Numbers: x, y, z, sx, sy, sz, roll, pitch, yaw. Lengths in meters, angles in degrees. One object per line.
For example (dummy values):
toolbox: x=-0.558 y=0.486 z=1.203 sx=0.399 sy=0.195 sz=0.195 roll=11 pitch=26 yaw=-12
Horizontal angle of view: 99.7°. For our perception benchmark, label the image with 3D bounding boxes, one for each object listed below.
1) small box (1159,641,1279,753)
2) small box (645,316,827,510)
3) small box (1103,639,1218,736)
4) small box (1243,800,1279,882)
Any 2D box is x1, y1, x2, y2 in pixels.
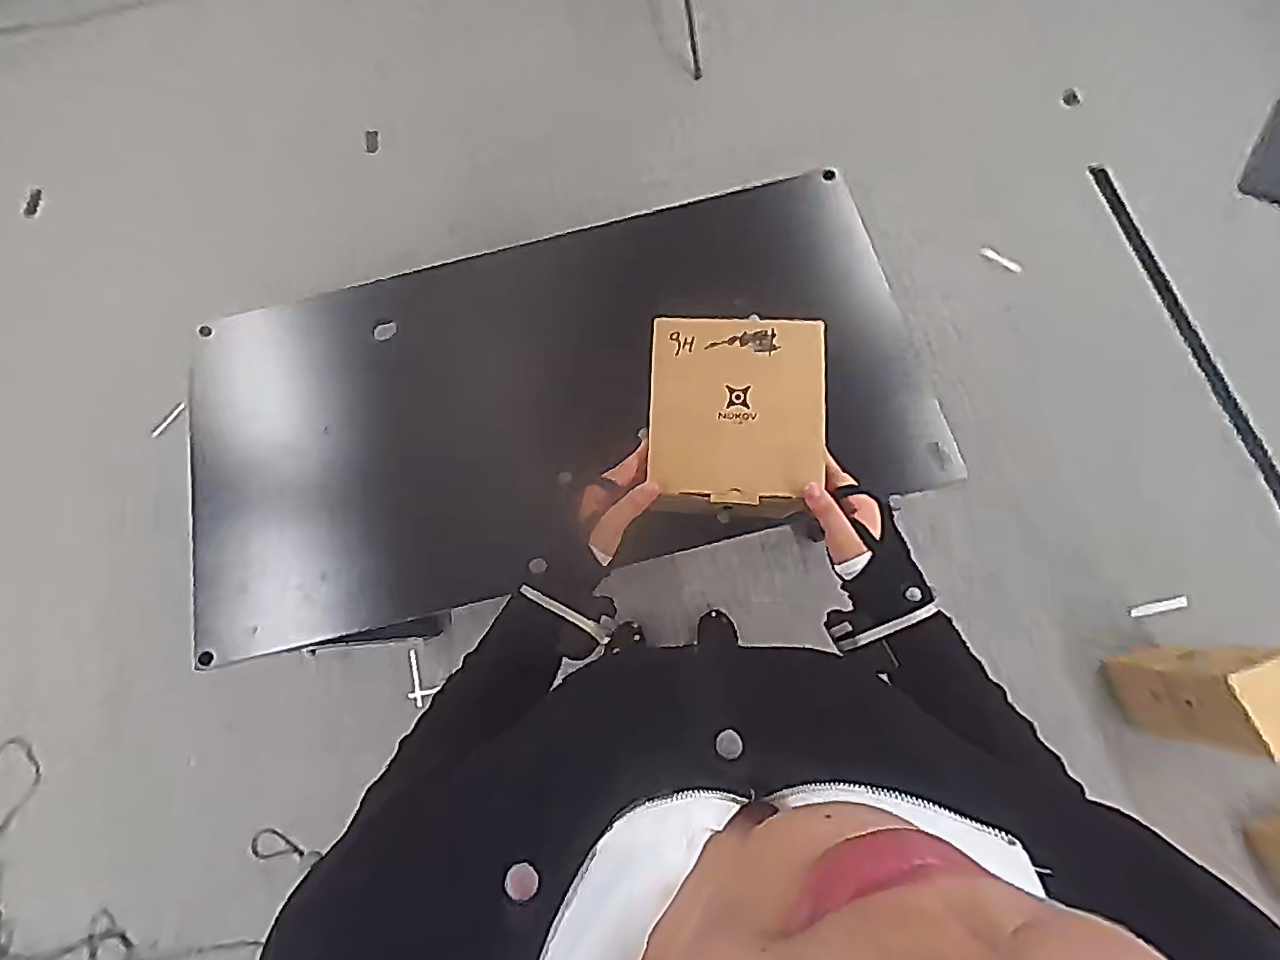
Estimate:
small box: x=1.285 y=0.448 z=1.146 sx=0.179 sy=0.176 sz=0.168 roll=-21 pitch=74 yaw=0
small box: x=0.097 y=-0.060 z=0.590 sx=0.168 sy=0.176 sz=0.179 roll=2 pitch=83 yaw=4
small box: x=1.285 y=0.491 z=1.303 sx=0.168 sy=0.176 sz=0.179 roll=-17 pitch=76 yaw=0
small box: x=1.539 y=0.838 z=1.201 sx=0.168 sy=0.176 sz=0.179 roll=-20 pitch=76 yaw=-1
